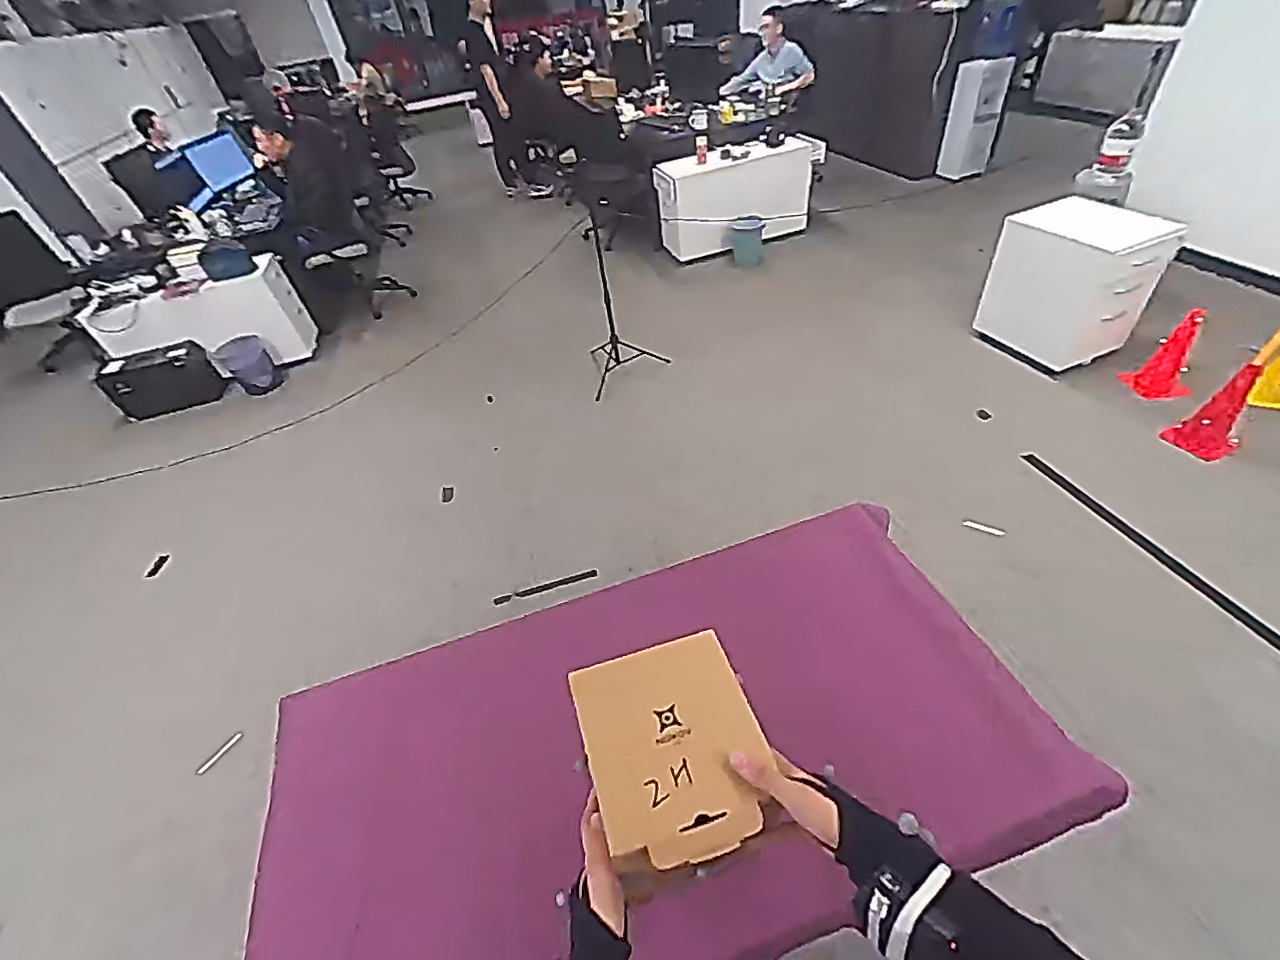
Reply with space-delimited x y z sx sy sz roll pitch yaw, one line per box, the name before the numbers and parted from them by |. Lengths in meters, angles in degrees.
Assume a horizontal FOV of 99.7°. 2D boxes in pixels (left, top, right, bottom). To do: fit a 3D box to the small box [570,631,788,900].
small box | 0.031 0.296 0.569 0.168 0.176 0.179 -14 43 -11
